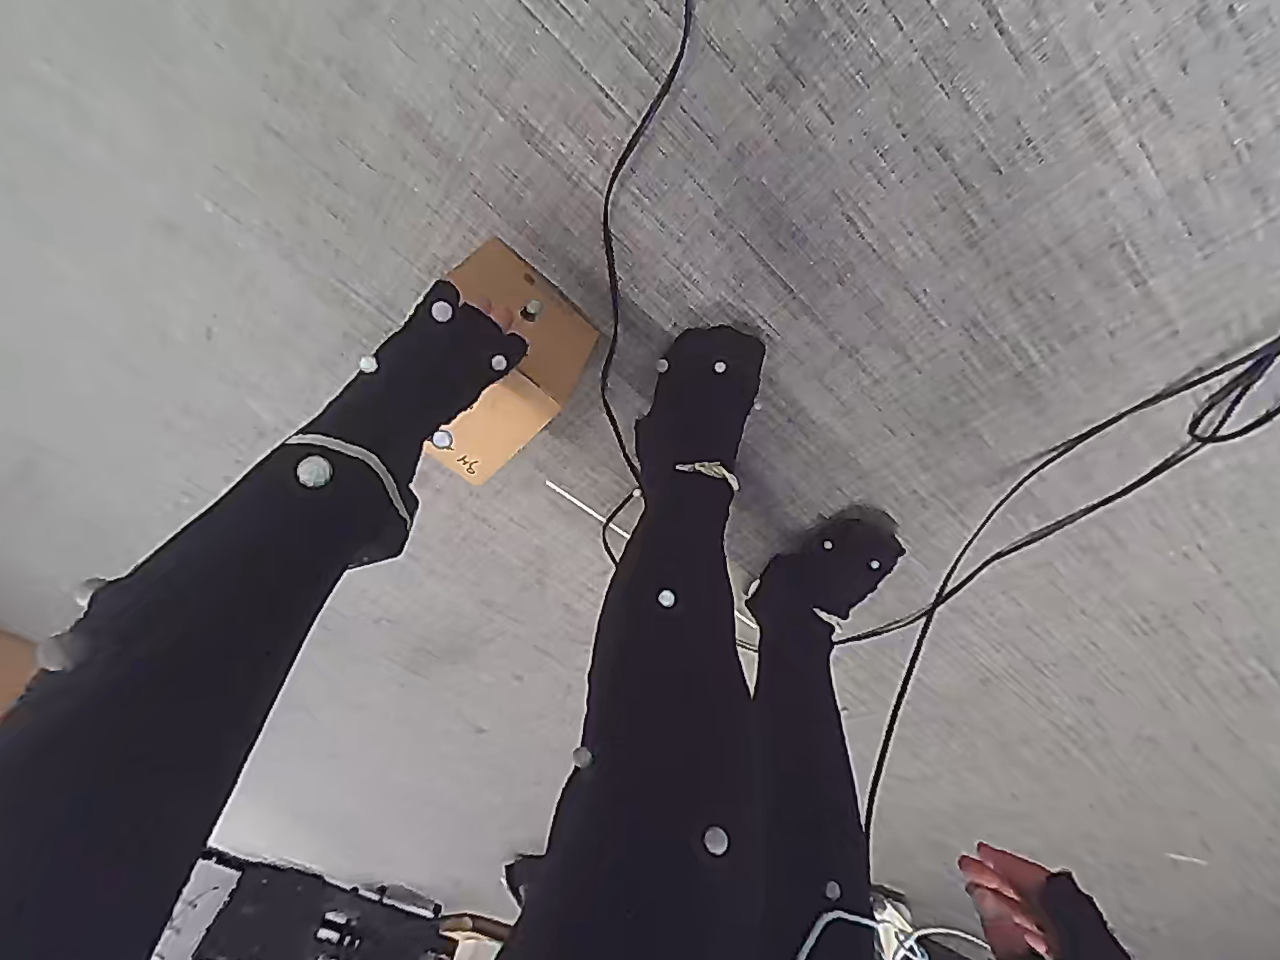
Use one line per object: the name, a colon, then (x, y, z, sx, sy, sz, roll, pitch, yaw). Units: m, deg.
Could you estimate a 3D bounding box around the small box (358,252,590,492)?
small box: (-0.175, -0.125, 0.620, 0.168, 0.176, 0.179, 40, 127, -22)
